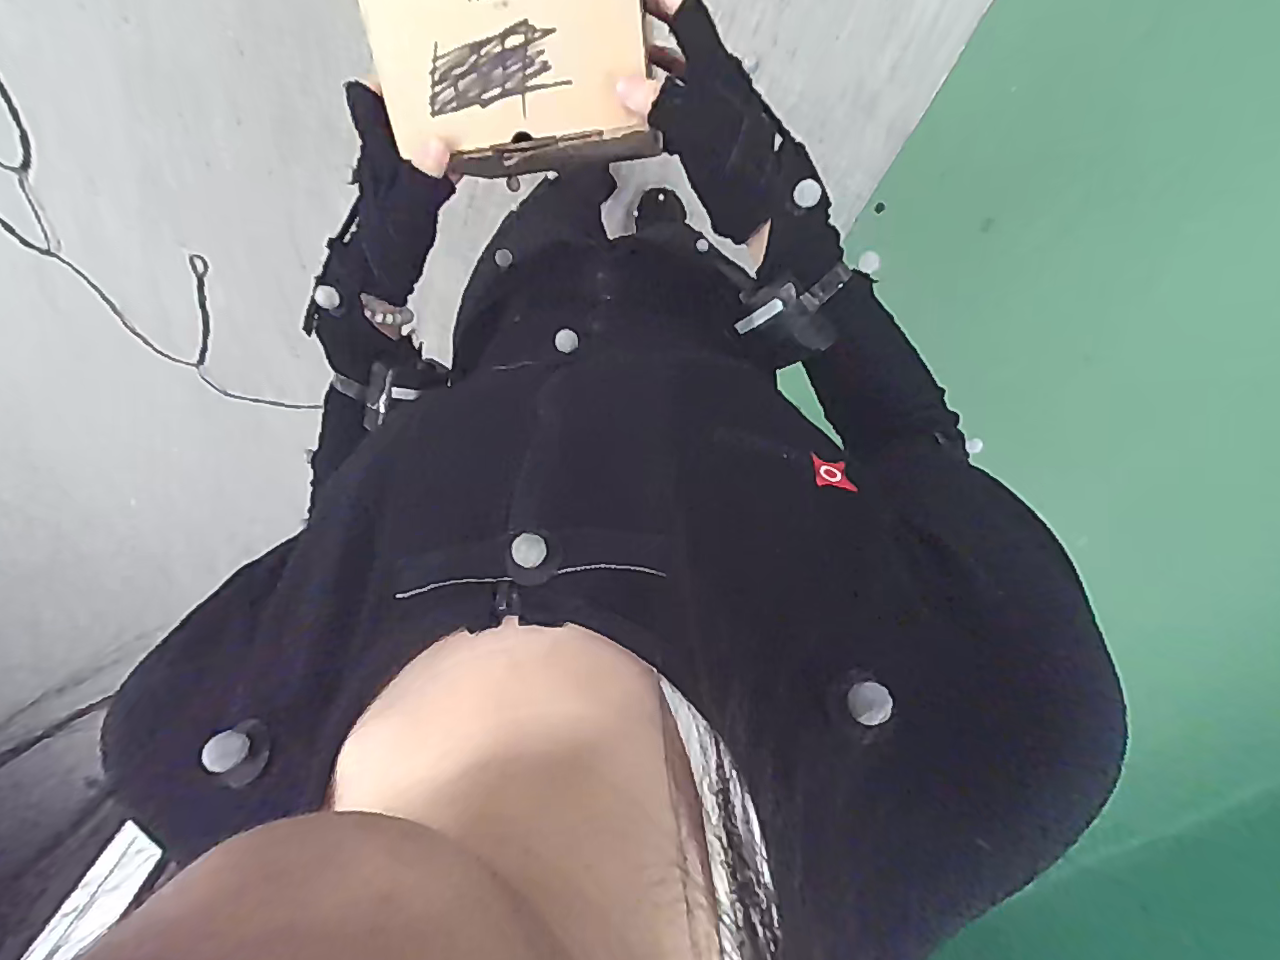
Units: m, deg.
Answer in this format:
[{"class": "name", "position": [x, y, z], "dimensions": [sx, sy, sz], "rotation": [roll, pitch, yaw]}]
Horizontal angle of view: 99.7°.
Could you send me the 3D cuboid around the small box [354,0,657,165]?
[{"class": "small box", "position": [-0.080, -0.327, 0.374], "dimensions": [0.168, 0.176, 0.179], "rotation": [-4, 115, 7]}]
